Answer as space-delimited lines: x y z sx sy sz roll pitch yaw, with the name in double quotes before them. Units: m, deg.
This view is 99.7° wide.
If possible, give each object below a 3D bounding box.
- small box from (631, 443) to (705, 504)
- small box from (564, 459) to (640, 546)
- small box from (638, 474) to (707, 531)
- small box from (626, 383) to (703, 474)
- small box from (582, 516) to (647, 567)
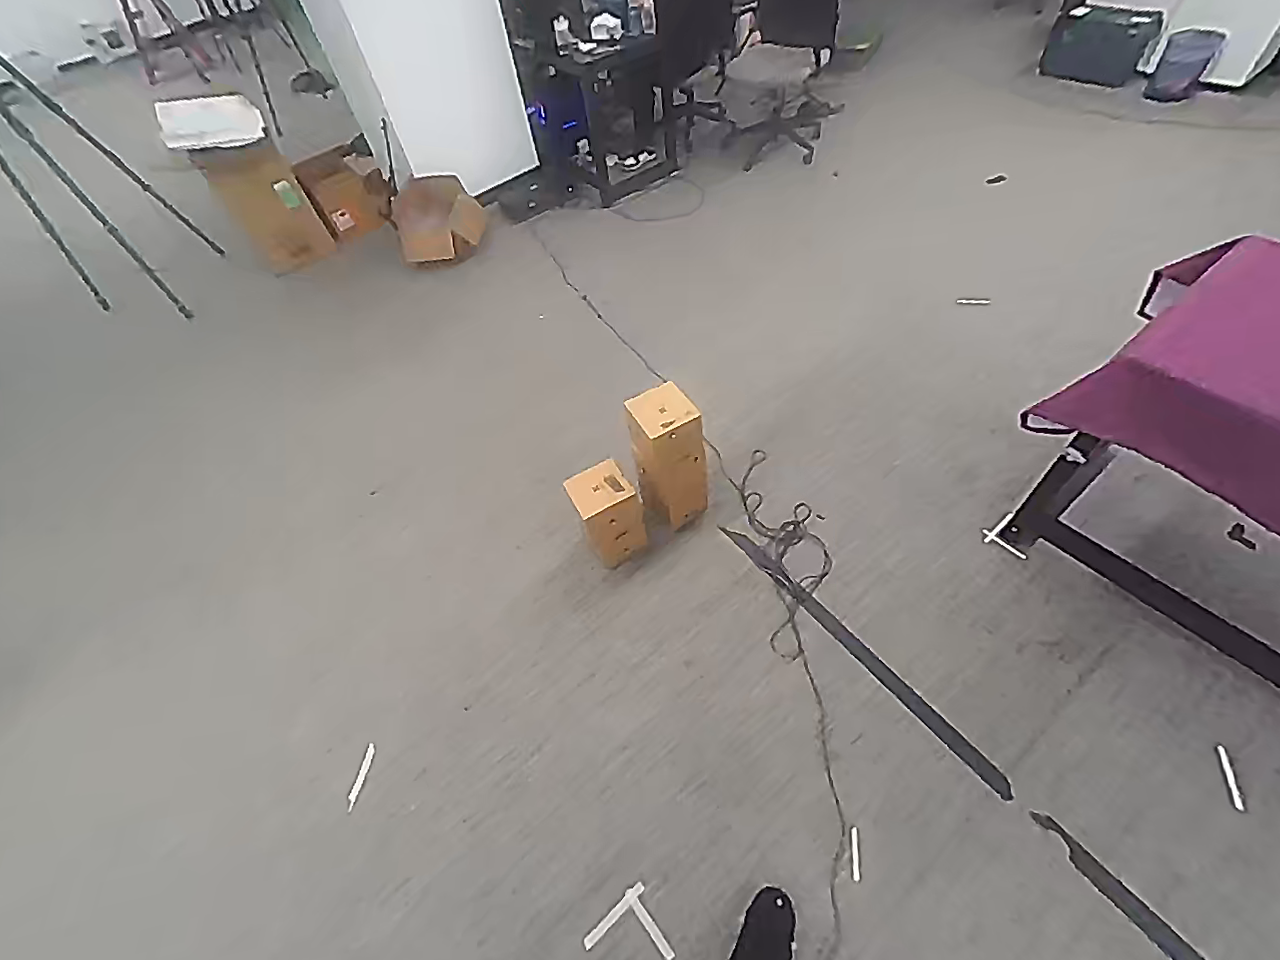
"small box" 0.096 -0.055 1.741 0.179 0.176 0.168 -33 55 -15
"small box" -0.111 0.072 1.671 0.179 0.176 0.168 -27 54 -11
"small box" 0.115 0.042 1.870 0.168 0.176 0.179 -34 56 -16
"small box" 0.075 -0.151 1.609 0.168 0.176 0.179 -27 53 -11
"small box" -0.094 0.158 1.811 0.168 0.176 0.179 -30 55 -13
